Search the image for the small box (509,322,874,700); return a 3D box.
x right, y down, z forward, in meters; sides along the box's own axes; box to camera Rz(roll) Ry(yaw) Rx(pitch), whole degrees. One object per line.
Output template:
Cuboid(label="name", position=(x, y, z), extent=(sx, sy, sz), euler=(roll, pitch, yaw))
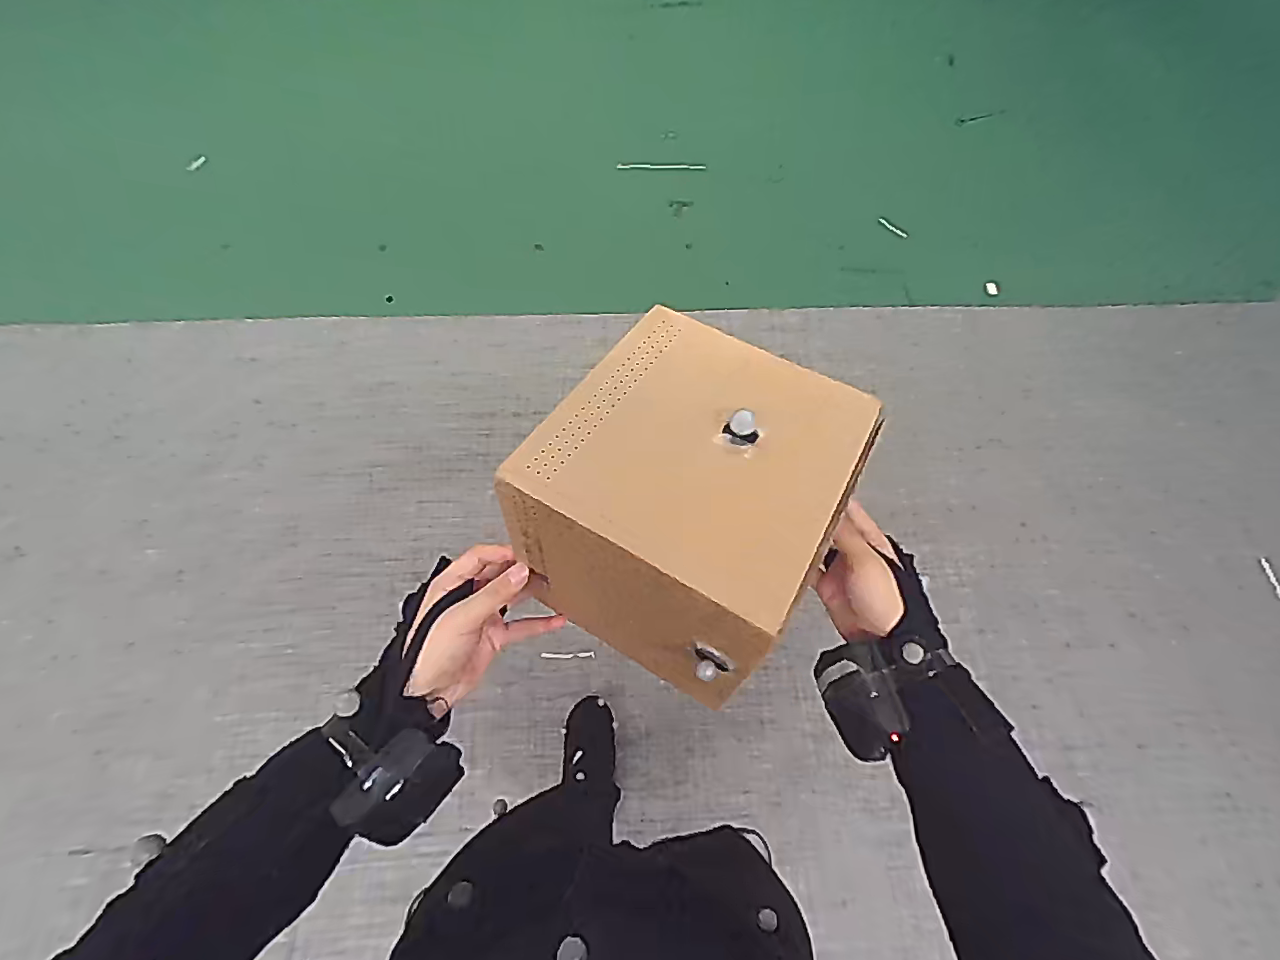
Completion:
Cuboid(label="small box", position=(0.032, 0.018, 0.387), extent=(0.176, 0.168, 0.179), euler=(27, 58, 15))
